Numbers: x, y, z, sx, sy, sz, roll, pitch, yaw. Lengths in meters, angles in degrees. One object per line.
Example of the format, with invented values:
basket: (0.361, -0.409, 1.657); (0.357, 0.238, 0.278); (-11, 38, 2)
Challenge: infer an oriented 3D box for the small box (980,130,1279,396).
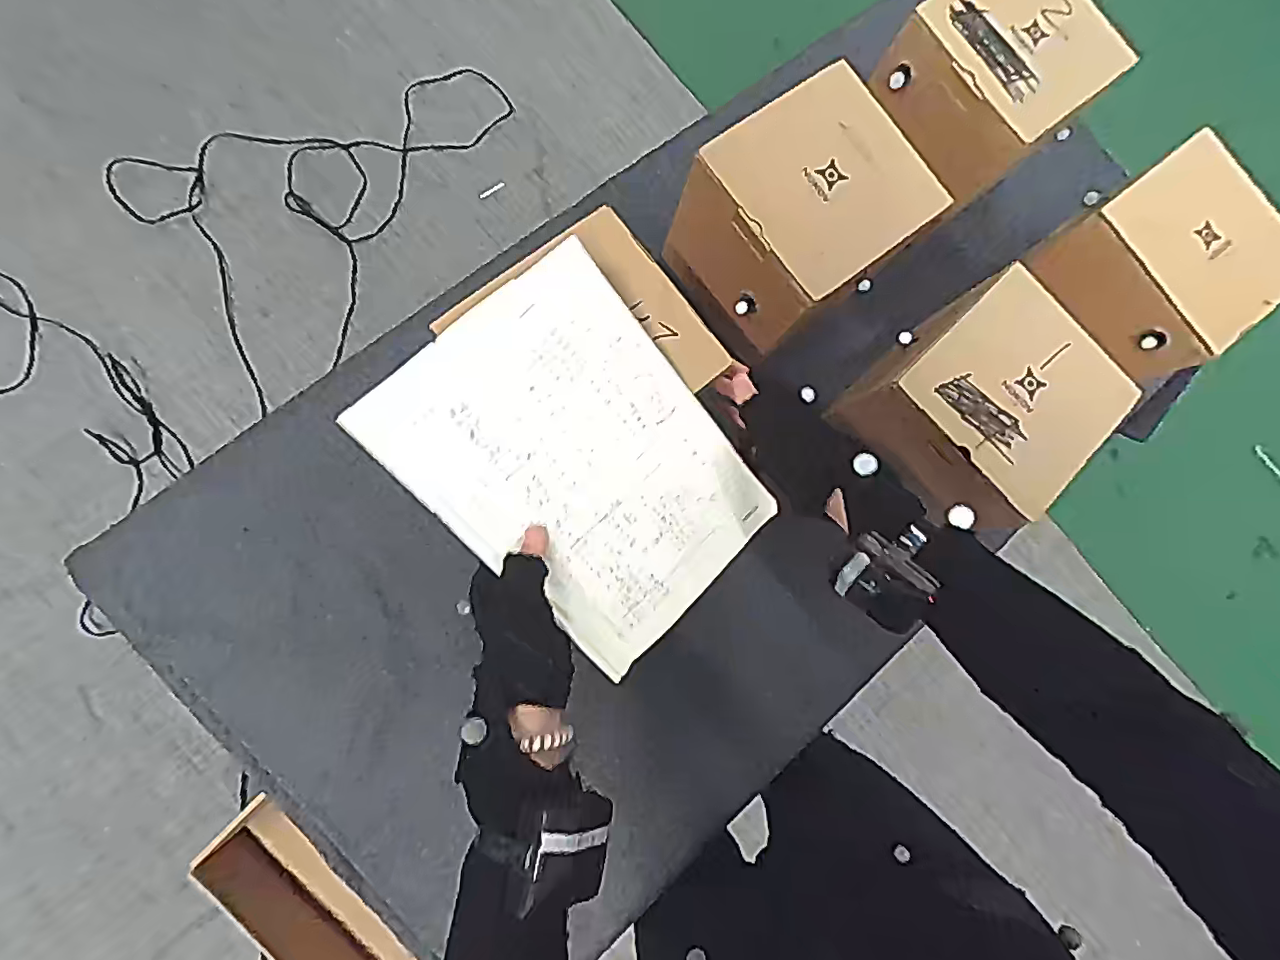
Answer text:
small box: (0.528, -0.219, 0.591); (0.168, 0.176, 0.179); (-36, 88, -11)
